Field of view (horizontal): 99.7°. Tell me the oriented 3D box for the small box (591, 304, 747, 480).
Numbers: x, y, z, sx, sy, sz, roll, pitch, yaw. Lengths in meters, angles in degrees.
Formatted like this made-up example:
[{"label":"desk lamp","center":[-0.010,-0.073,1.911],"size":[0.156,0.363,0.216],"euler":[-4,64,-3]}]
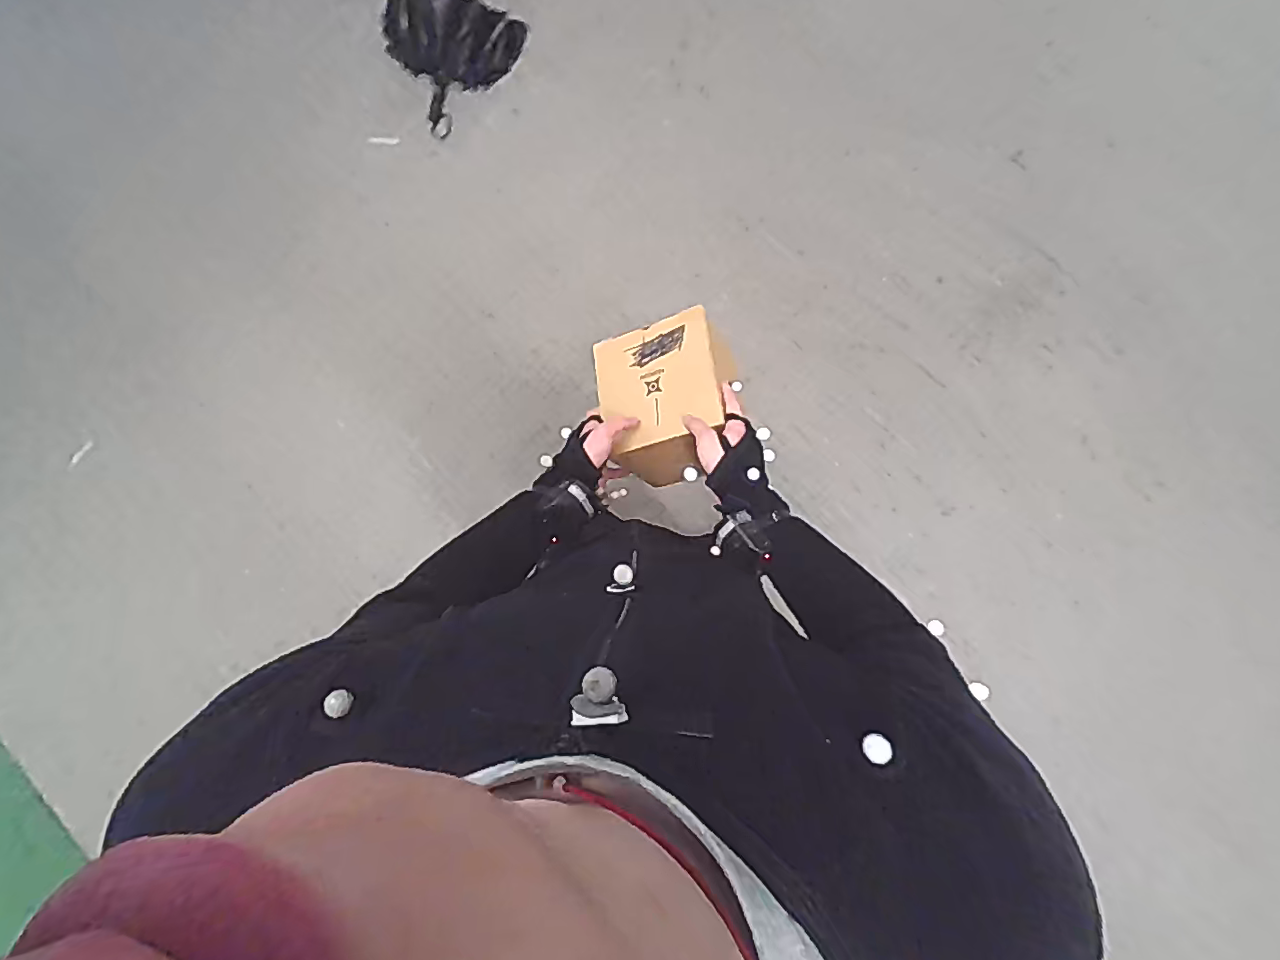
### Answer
[{"label":"small box","center":[0.046,-0.115,0.786],"size":[0.168,0.176,0.179],"euler":[-15,70,23]}]
